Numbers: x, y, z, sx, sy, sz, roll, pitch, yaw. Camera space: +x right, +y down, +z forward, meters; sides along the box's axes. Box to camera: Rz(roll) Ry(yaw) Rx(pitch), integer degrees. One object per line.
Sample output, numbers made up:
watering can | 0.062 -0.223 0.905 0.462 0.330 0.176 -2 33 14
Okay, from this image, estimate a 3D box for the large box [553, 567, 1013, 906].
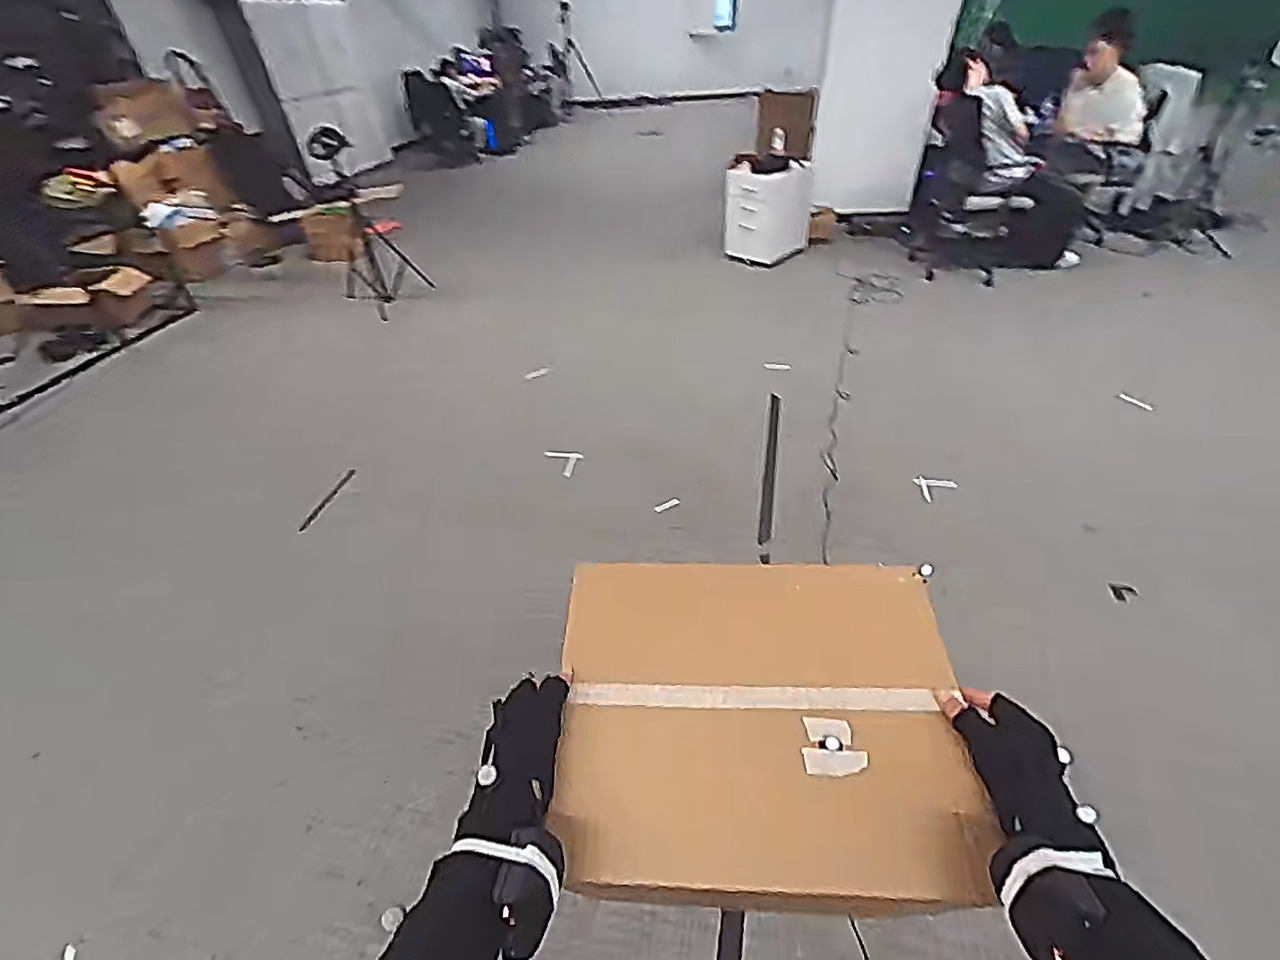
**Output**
large box | 0.130 0.320 0.673 0.408 0.320 0.320 0 50 4
